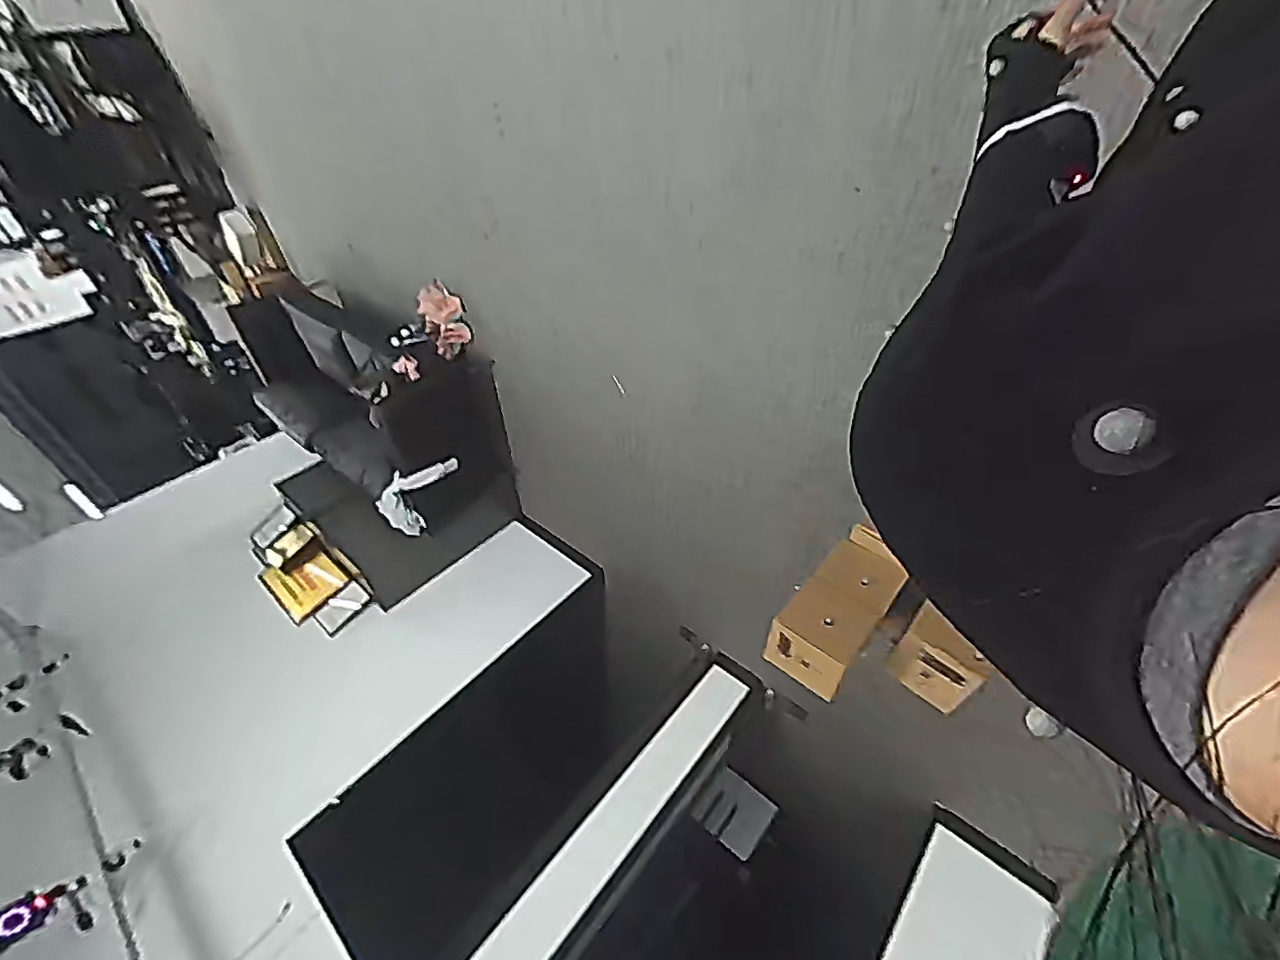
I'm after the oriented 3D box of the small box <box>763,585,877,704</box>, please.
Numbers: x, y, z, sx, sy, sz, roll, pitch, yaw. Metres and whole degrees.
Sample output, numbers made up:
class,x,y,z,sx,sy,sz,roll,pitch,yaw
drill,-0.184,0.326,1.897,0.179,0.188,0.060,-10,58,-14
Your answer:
class,x,y,z,sx,sy,sz,roll,pitch,yaw
small box,0.416,0.371,1.260,0.179,0.176,0.168,30,140,29
